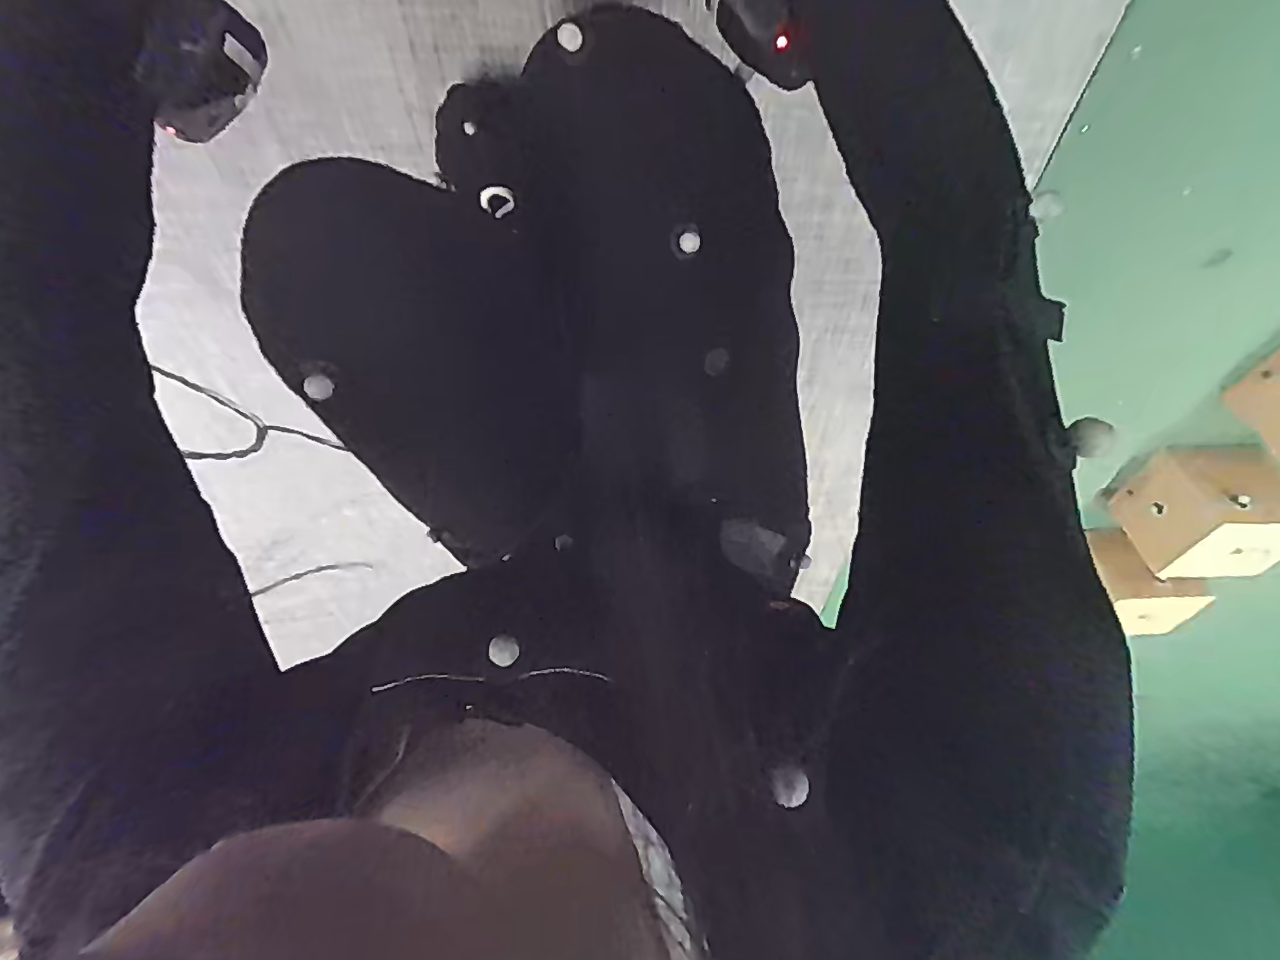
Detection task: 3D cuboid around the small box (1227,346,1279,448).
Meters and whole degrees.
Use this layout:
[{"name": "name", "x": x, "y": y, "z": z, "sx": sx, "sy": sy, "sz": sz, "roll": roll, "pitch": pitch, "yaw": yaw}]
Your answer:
[{"name": "small box", "x": 1.012, "y": -0.119, "z": 0.749, "sx": 0.179, "sy": 0.176, "sz": 0.168, "roll": 8, "pitch": 139, "yaw": -7}]

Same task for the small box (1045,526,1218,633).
[{"name": "small box", "x": 1.012, "y": 0.206, "z": 1.136, "sx": 0.179, "sy": 0.176, "sz": 0.168, "roll": -4, "pitch": 139, "yaw": 4}]

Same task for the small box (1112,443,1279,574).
[{"name": "small box", "x": 0.997, "y": 0.048, "z": 0.945, "sx": 0.179, "sy": 0.176, "sz": 0.168, "roll": -2, "pitch": 141, "yaw": 2}]
